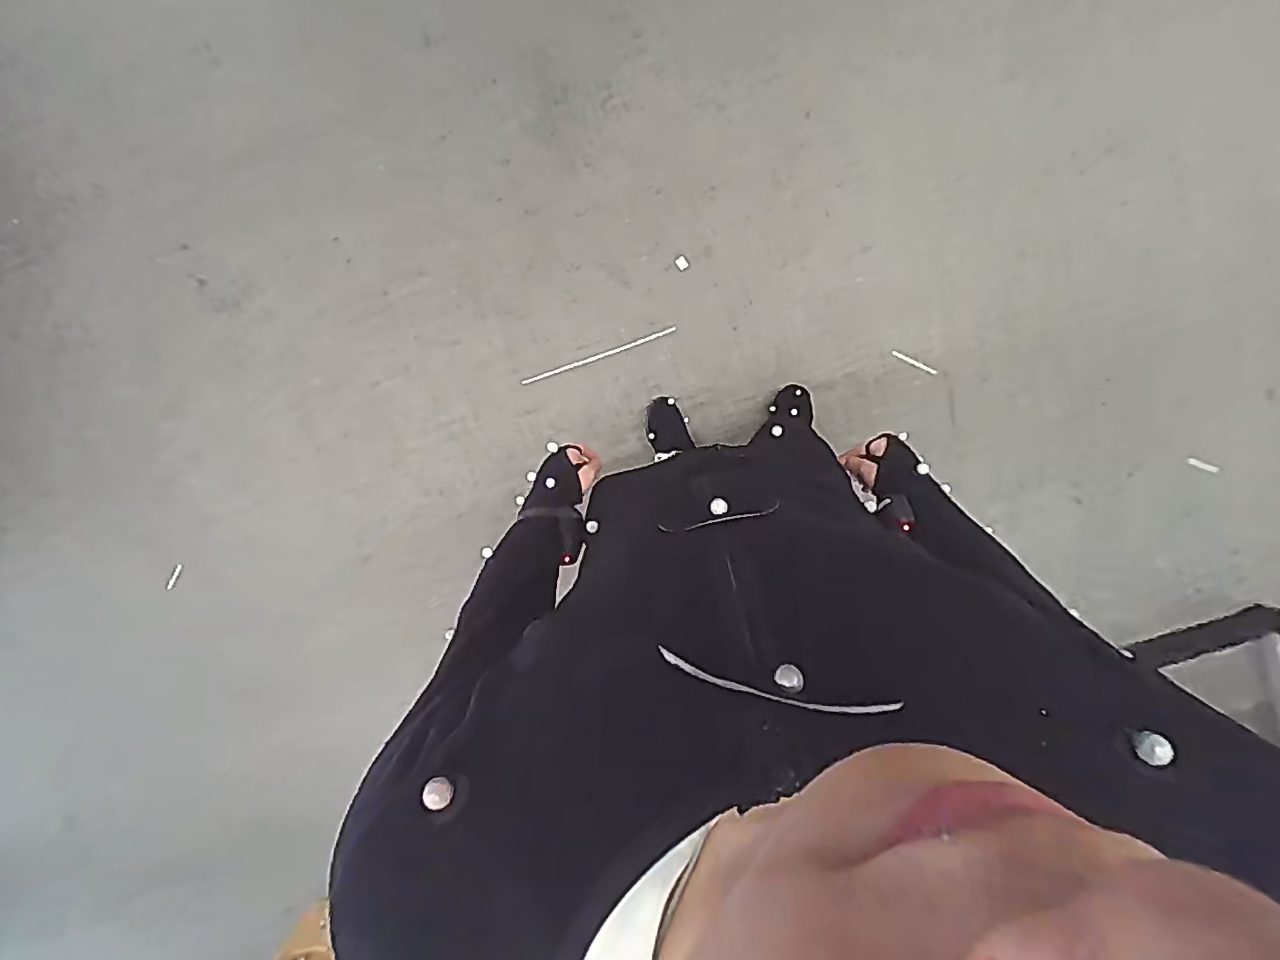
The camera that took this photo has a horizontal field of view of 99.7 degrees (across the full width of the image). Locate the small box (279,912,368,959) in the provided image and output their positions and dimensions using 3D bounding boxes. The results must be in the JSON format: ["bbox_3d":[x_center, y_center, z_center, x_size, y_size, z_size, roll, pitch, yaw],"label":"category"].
[{"bbox_3d":[-0.956,1.444,1.625,0.168,0.176,0.179,-12,98,5],"label":"small box"}]
